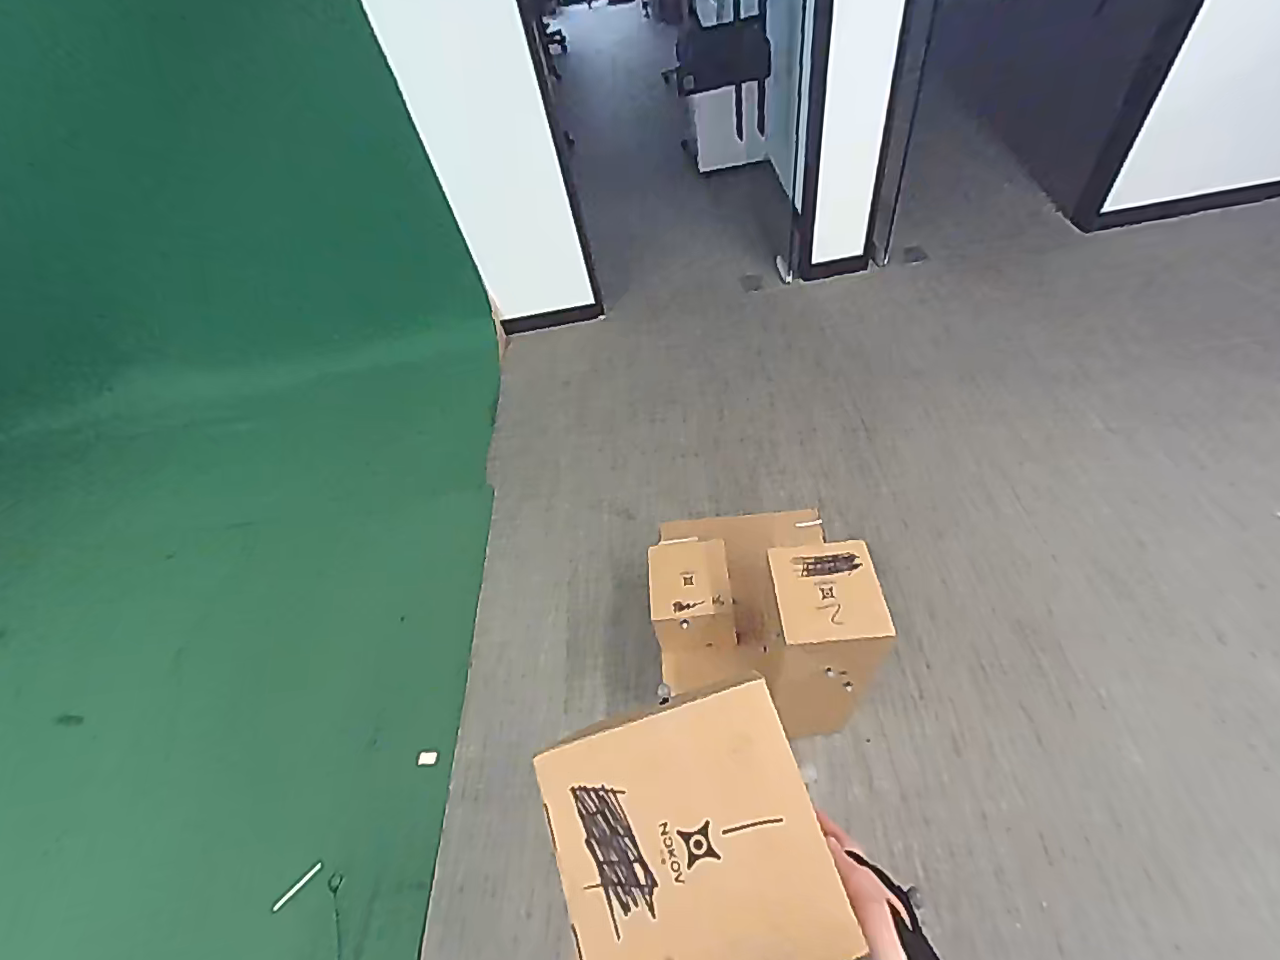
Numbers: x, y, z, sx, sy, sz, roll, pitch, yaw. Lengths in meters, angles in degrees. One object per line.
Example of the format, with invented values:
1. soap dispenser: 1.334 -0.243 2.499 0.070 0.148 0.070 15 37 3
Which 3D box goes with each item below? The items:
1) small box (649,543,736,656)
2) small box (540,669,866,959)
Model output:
1. small box: 0.113 0.260 1.168 0.168 0.176 0.179 -7 49 7
2. small box: 0.045 0.259 0.429 0.179 0.176 0.168 -20 70 1
